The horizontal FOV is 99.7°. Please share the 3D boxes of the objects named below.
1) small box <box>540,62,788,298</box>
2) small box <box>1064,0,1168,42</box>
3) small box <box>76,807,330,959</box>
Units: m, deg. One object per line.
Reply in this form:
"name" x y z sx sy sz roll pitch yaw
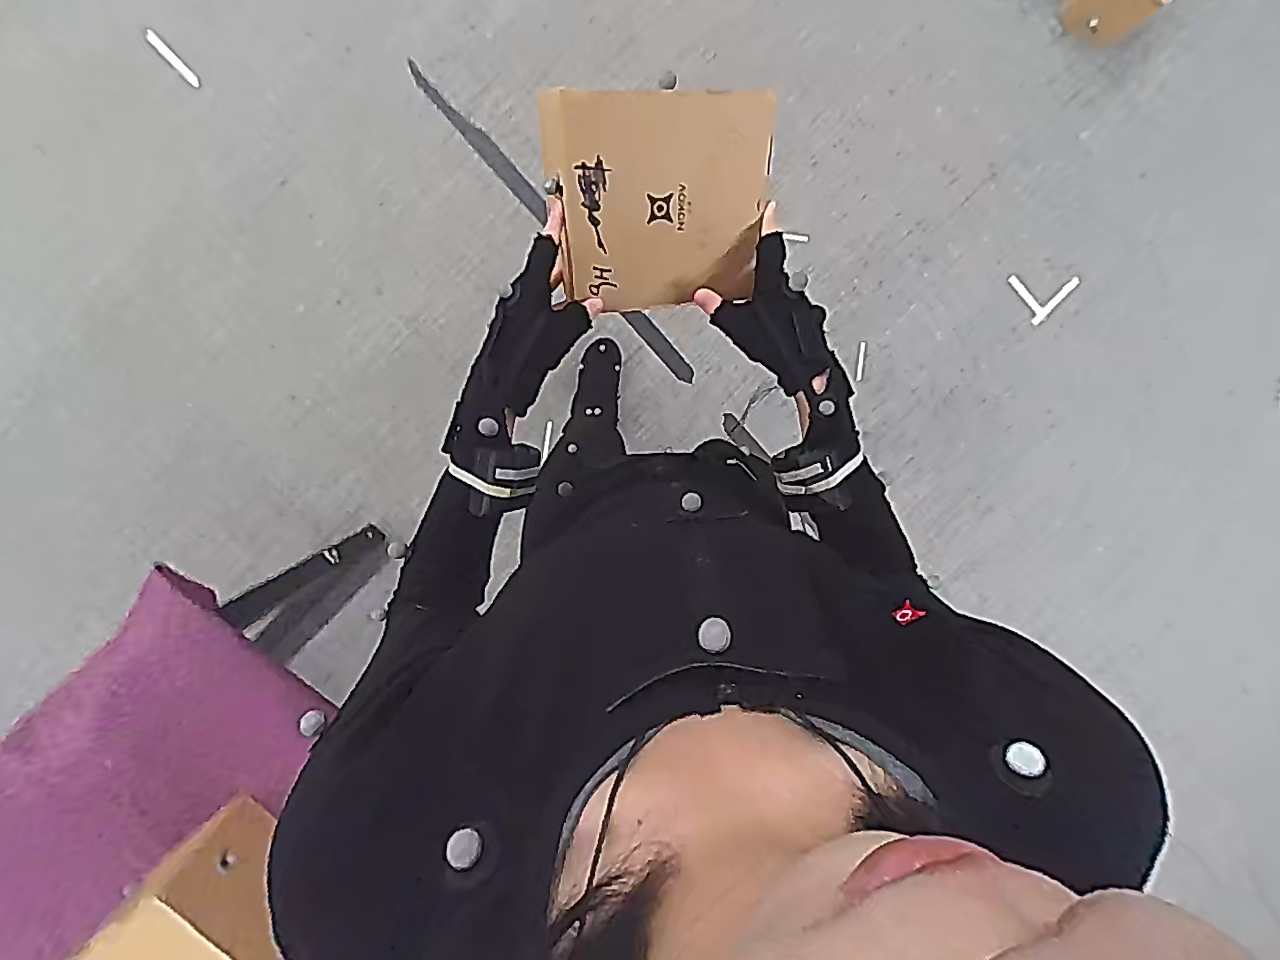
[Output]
"small box" 0.010 -0.280 0.502 0.179 0.176 0.168 -8 125 -11
"small box" 1.214 -1.258 1.339 0.168 0.176 0.179 26 96 -7
"small box" -0.564 0.578 0.715 0.168 0.176 0.179 -41 100 4
